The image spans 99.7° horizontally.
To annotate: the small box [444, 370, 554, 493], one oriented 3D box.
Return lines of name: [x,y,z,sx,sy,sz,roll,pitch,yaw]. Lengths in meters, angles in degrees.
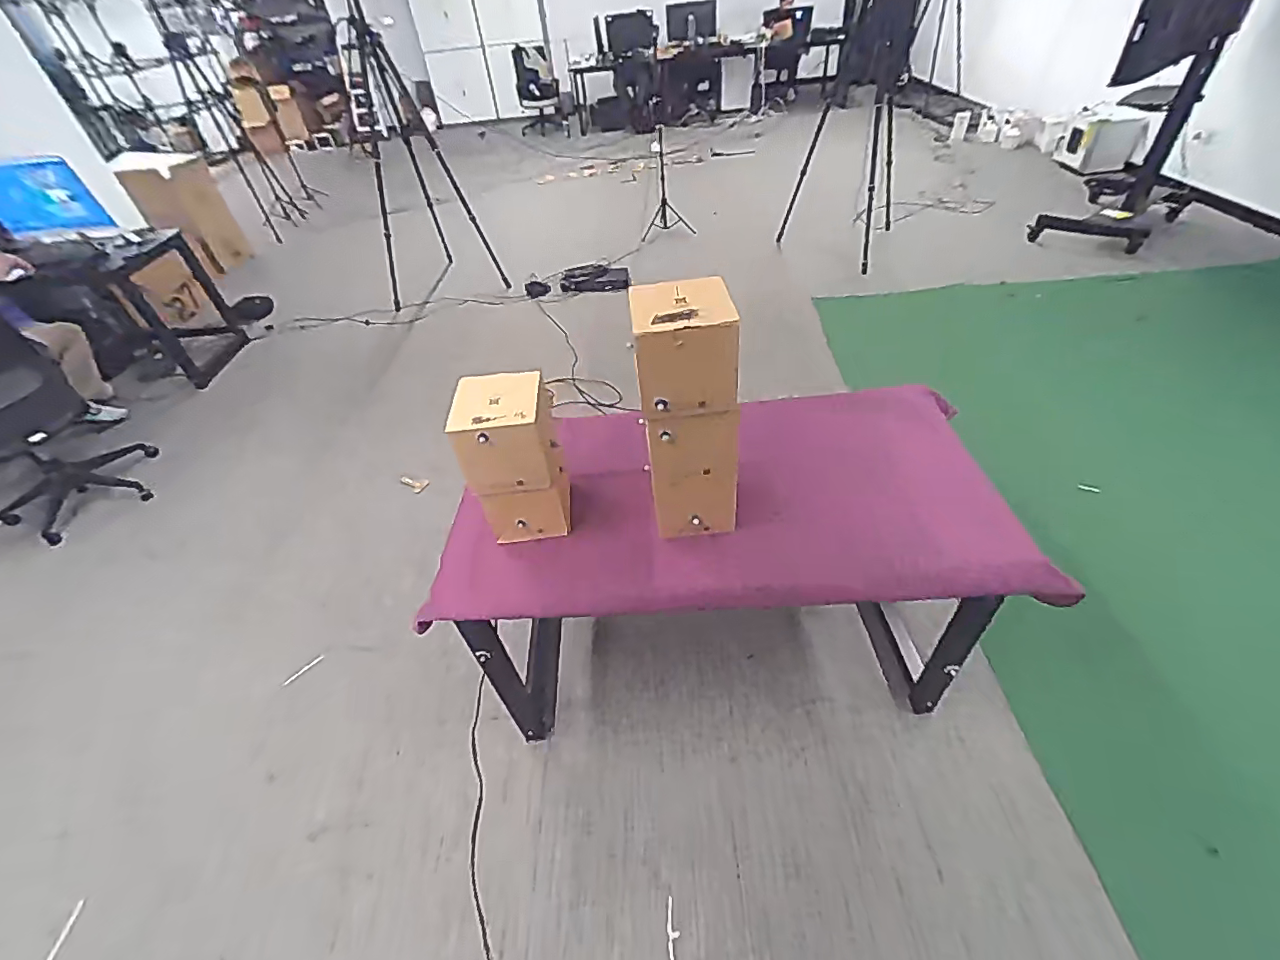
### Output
small box: [-0.270,-0.097,1.082,0.168,0.176,0.179,-7,43,1]

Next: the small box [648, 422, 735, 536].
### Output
small box: [0.107,-0.002,1.168,0.168,0.176,0.179,-6,43,2]

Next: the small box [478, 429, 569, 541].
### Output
small box: [-0.255,0.012,1.205,0.168,0.176,0.179,-8,44,-1]

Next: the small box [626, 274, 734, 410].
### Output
small box: [0.069,-0.232,0.936,0.168,0.176,0.179,-6,42,1]
